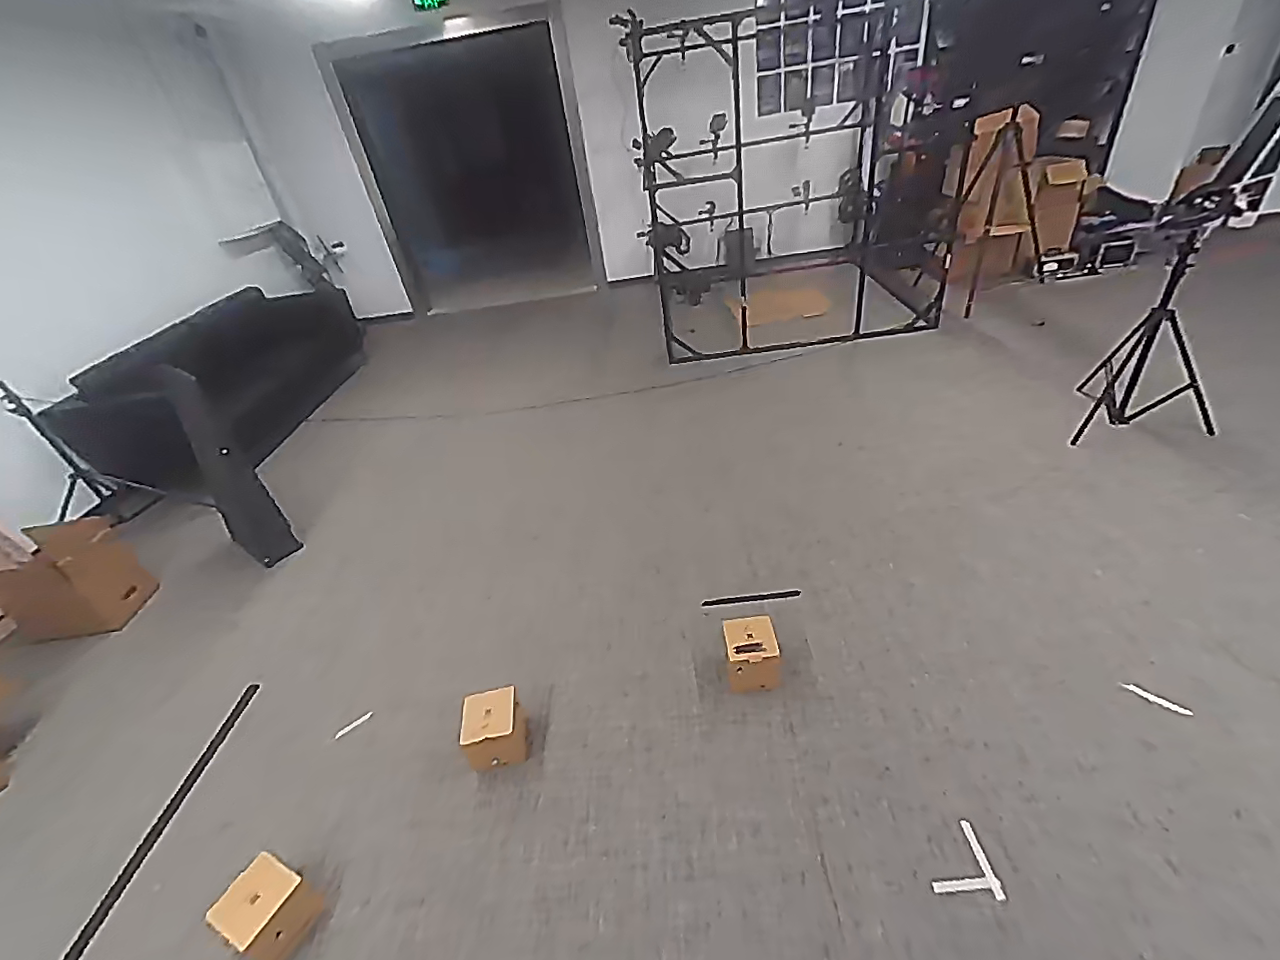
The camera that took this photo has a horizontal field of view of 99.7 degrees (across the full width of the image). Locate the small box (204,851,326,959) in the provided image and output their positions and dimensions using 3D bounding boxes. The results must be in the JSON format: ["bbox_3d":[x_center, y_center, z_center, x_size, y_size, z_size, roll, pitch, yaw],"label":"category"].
[{"bbox_3d":[-0.974,1.131,1.421,0.179,0.176,0.168,9,38,26],"label":"small box"}]

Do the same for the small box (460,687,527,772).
[{"bbox_3d":[-0.471,0.813,1.761,0.168,0.176,0.179,-11,35,-3],"label":"small box"}]
